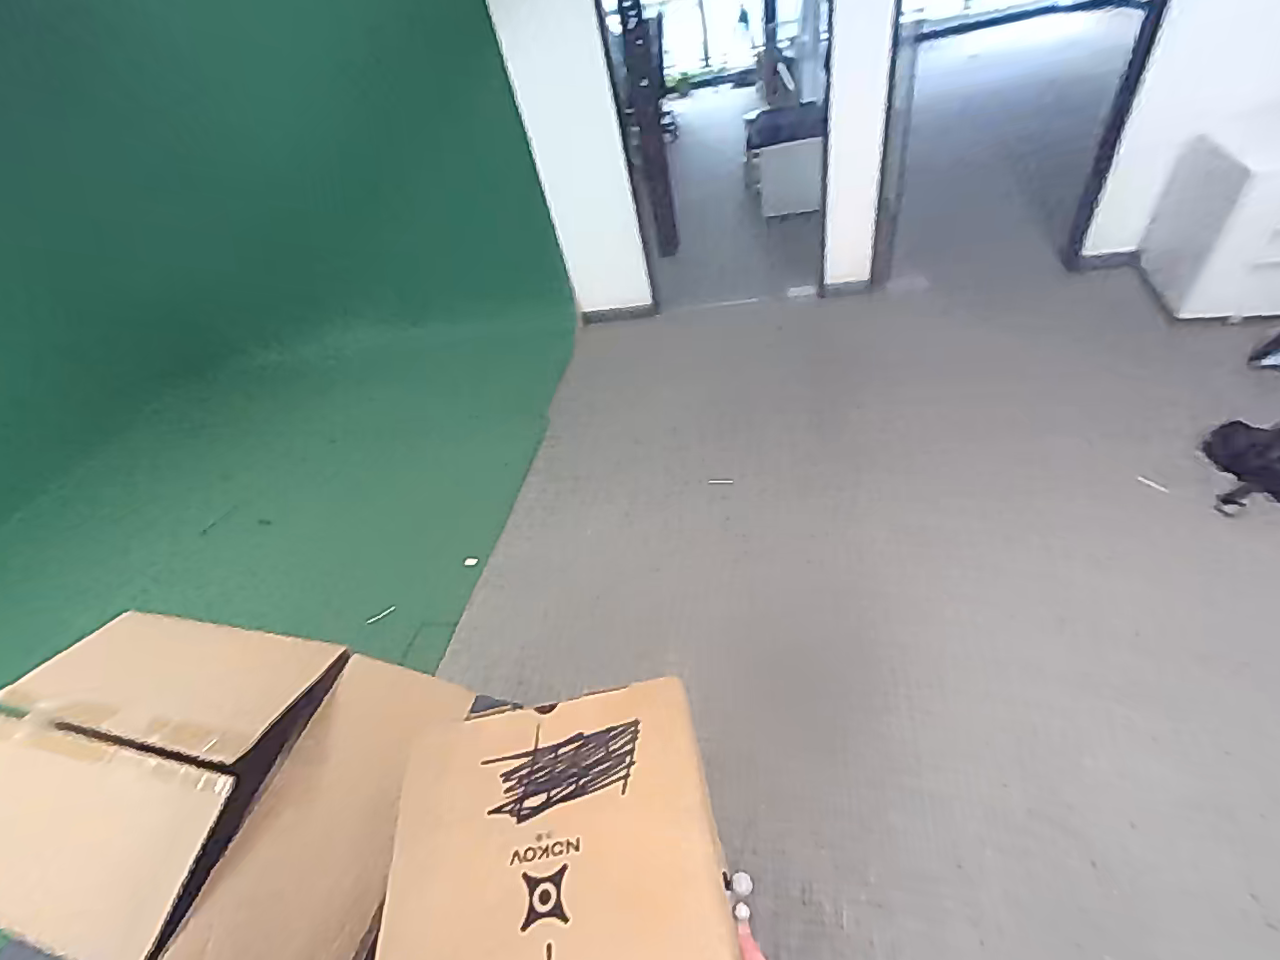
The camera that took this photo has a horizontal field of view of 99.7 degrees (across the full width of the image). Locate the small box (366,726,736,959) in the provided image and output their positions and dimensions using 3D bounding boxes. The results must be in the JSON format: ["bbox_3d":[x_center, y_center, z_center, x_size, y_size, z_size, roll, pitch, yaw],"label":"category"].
[{"bbox_3d":[-0.033,0.266,0.300,0.168,0.176,0.179,-11,46,2],"label":"small box"}]
